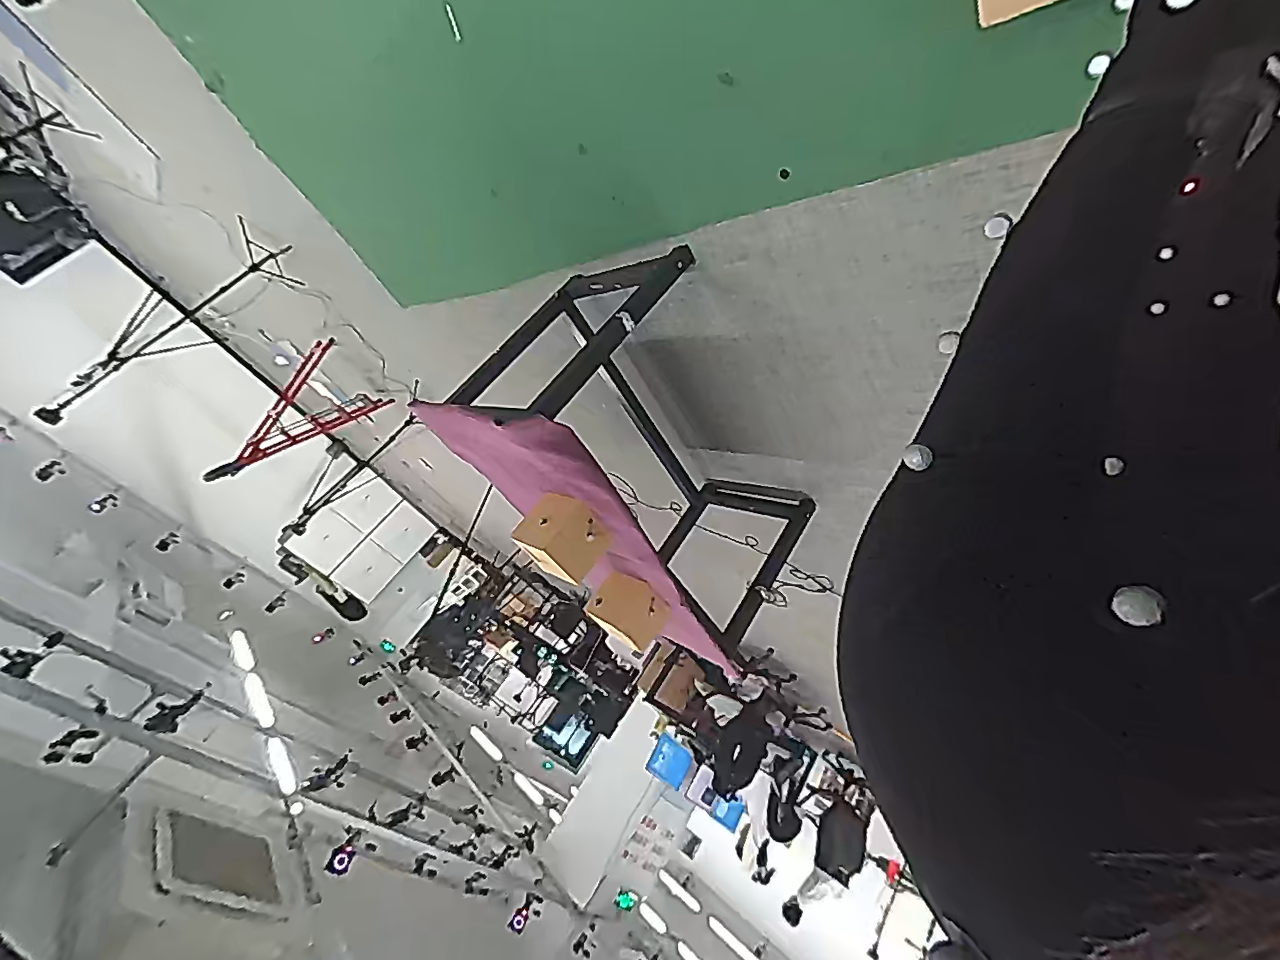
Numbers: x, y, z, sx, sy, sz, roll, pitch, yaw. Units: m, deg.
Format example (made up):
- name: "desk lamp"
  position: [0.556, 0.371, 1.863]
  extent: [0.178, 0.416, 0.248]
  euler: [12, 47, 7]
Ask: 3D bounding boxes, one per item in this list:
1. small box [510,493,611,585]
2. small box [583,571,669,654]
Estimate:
- name: "small box"
  position: [-0.214, 0.154, 1.476]
  extent: [0.179, 0.176, 0.168]
  euler: [11, 146, 47]
- name: "small box"
  position: [-0.041, 0.414, 1.720]
  extent: [0.179, 0.176, 0.168]
  euler: [12, 147, 49]
